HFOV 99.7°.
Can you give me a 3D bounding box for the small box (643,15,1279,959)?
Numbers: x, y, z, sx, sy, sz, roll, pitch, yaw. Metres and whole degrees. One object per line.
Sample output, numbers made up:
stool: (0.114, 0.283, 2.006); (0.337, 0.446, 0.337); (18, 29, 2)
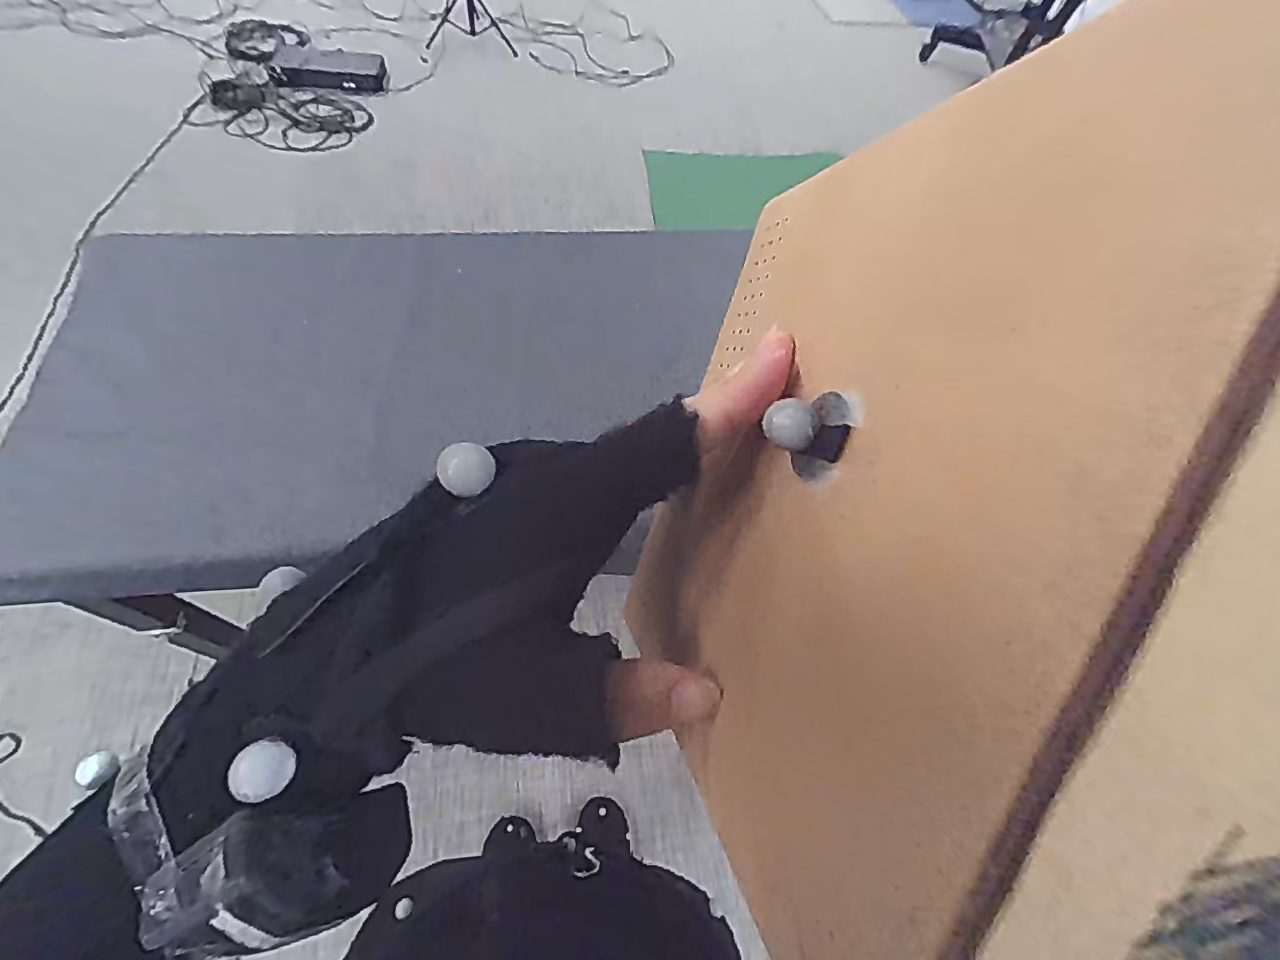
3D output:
small box: (0.112, 0.026, 0.172); (0.168, 0.176, 0.179); (17, 98, -17)
